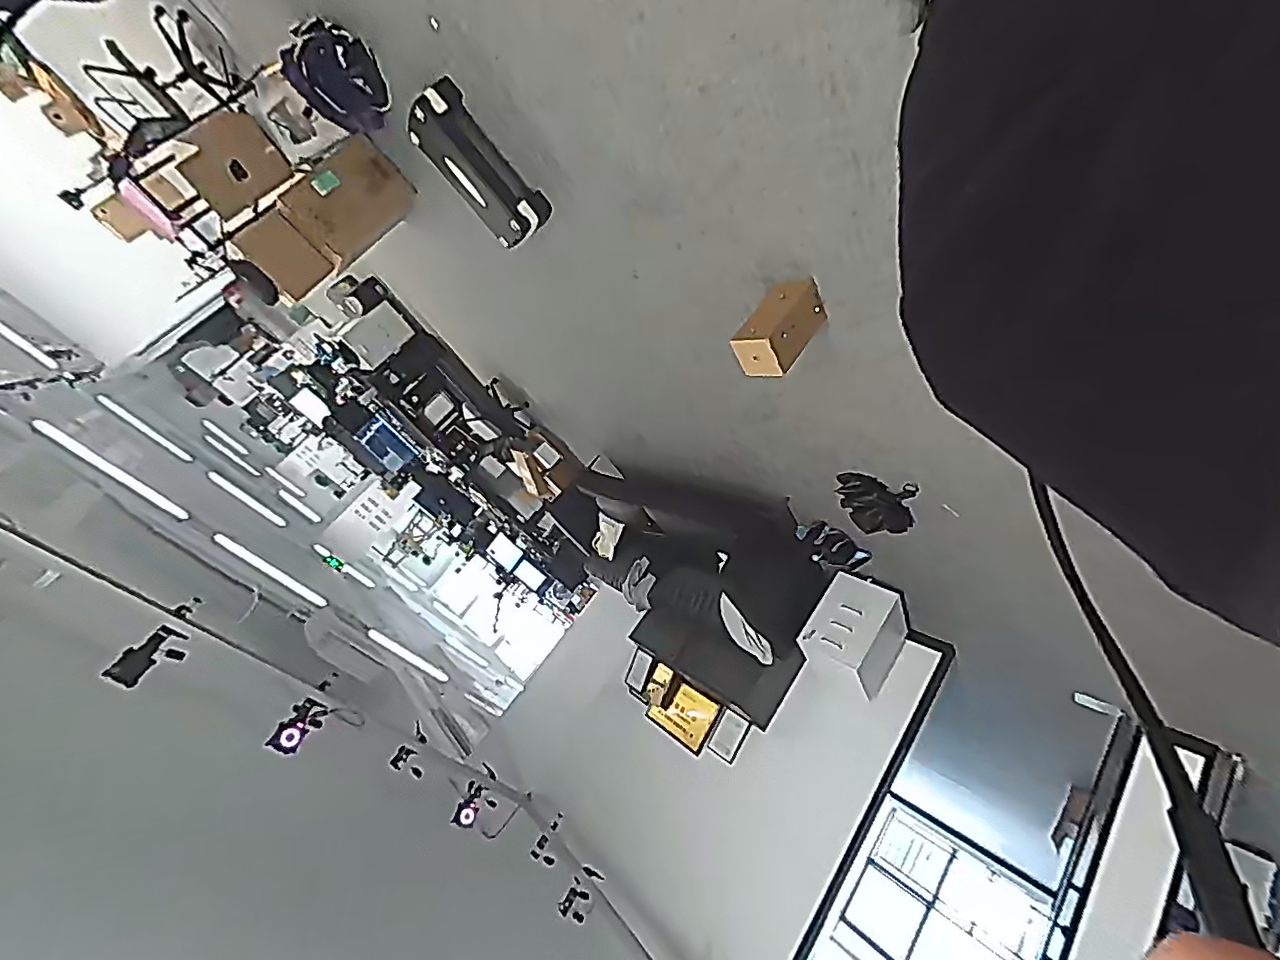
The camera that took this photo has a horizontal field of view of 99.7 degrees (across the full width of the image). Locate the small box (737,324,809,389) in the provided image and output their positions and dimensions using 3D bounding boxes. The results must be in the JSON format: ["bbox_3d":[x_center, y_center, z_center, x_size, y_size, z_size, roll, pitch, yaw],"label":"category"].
[{"bbox_3d":[0.492,-0.451,1.972,0.179,0.176,0.168,15,149,52],"label":"small box"}]

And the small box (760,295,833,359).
[{"bbox_3d":[0.589,-0.570,2.025,0.179,0.176,0.168,14,149,50],"label":"small box"}]
